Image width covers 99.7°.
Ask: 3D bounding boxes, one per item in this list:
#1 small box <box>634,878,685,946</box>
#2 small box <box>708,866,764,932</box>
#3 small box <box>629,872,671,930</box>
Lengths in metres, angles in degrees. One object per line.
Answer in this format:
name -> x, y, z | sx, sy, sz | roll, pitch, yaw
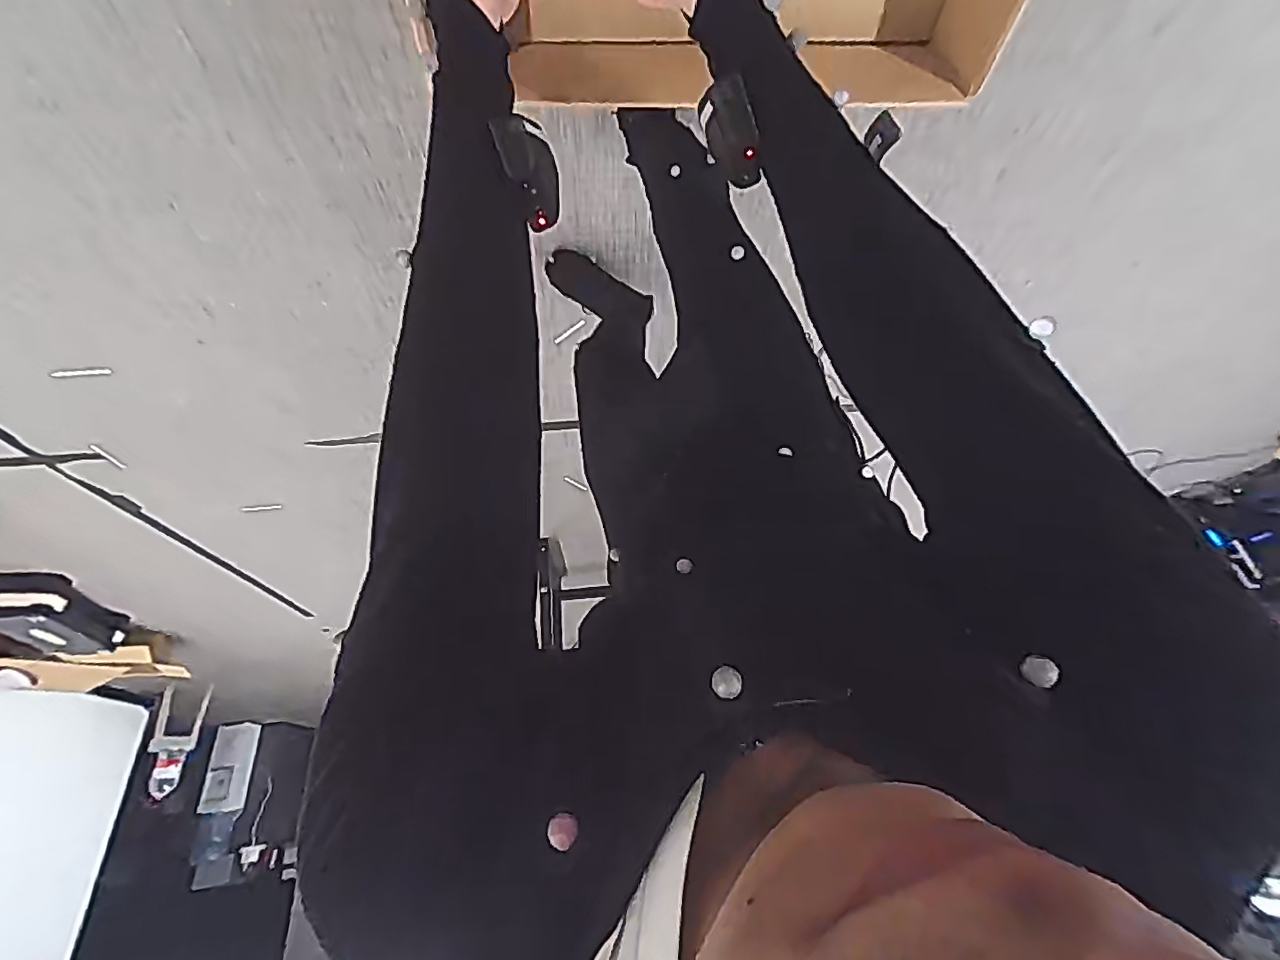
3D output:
small box -> 0.071, 1.658, 2.085 | 0.168, 0.176, 0.179 | -4, 151, -7
small box -> 0.371, 1.636, 2.119 | 0.168, 0.176, 0.179 | -4, 151, -6
small box -> 0.048, 1.786, 2.299 | 0.179, 0.176, 0.168 | -3, 150, -7
